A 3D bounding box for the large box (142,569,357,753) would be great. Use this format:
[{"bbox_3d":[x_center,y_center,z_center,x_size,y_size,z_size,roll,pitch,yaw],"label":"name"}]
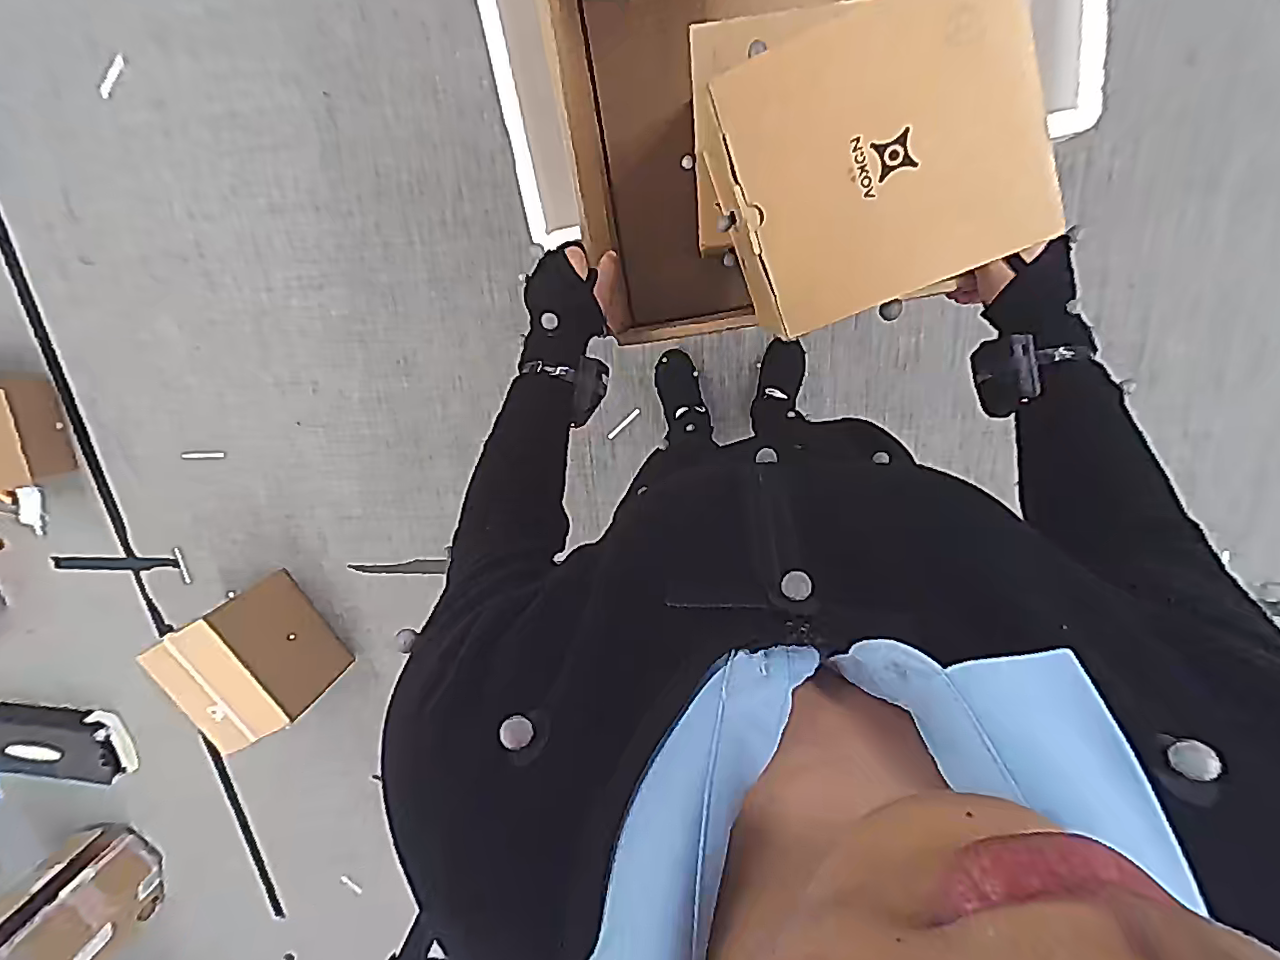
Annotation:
[{"bbox_3d":[-1.226,0.570,1.739,0.320,0.320,0.408,-28,103,16],"label":"large box"}]
